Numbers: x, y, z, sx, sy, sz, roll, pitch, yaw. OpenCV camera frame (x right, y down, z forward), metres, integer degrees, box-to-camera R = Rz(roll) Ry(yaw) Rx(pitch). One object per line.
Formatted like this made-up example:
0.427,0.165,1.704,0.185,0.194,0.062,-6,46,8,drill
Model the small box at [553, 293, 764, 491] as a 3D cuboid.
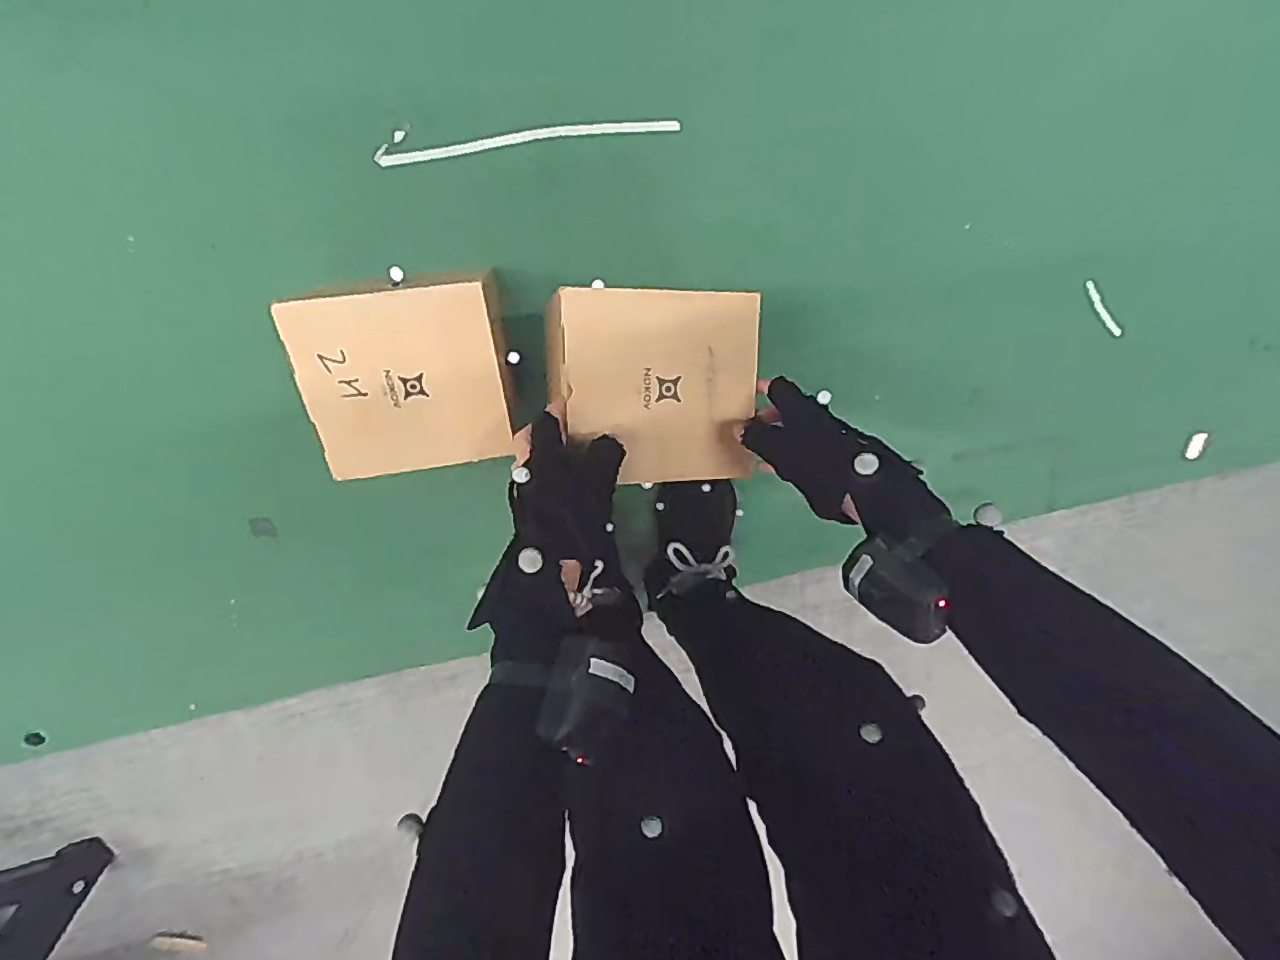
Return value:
0.004,-0.087,0.541,0.179,0.176,0.168,-2,103,-13,small box
